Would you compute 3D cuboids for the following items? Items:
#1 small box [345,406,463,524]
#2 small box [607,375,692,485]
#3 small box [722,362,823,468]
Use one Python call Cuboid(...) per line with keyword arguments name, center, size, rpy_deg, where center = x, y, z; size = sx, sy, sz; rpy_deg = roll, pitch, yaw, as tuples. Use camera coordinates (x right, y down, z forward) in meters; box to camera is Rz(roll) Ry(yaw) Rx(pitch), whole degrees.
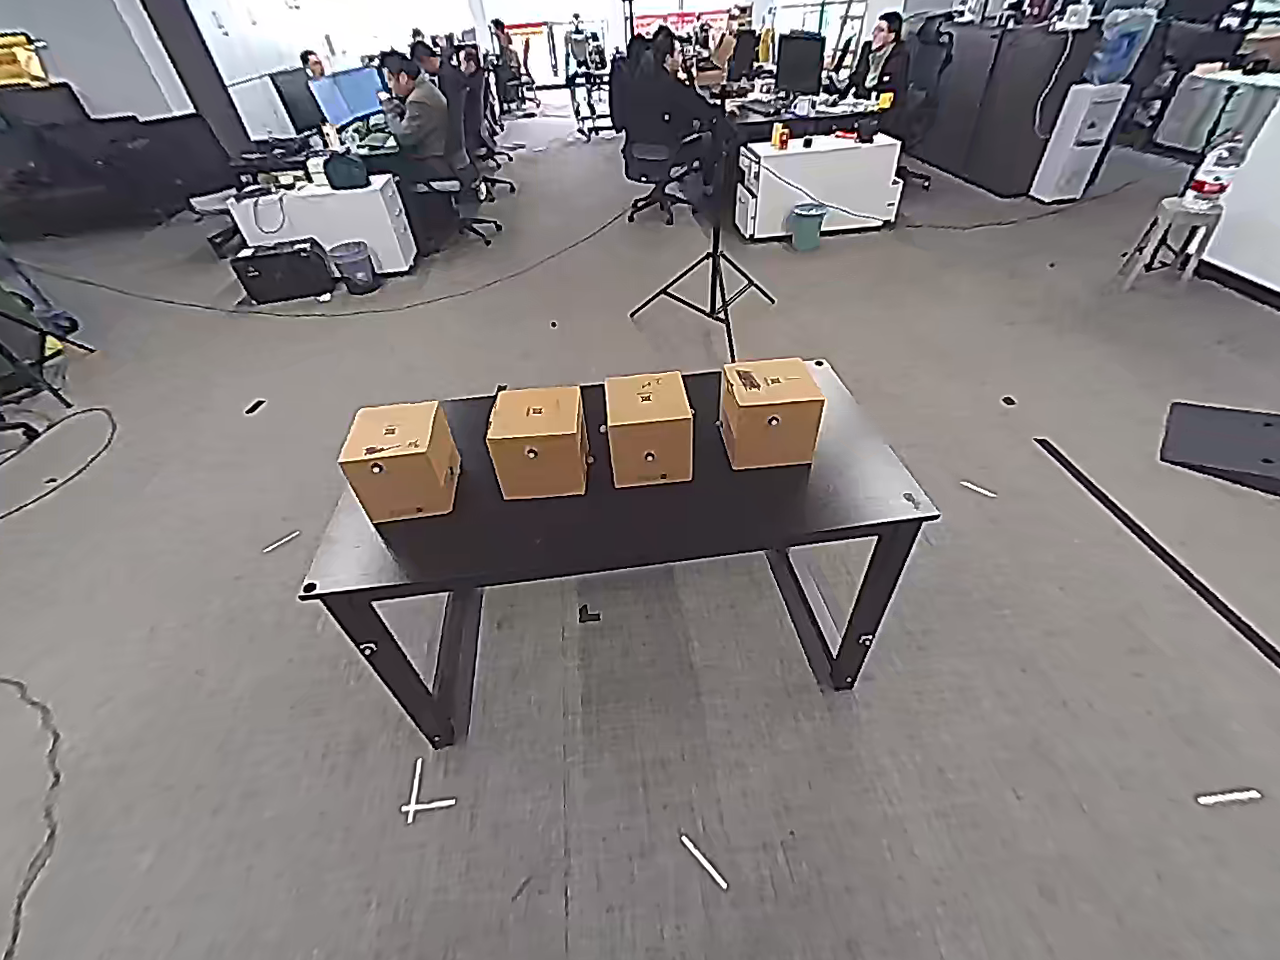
Cuboid(name="small box", center=(-0.479, -0.031, 1.132), size=(0.168, 0.176, 0.179), rpy_deg=(-8, 42, -3))
Cuboid(name="small box", center=(0.021, -0.102, 1.166), size=(0.168, 0.176, 0.179), rpy_deg=(-6, 42, -2))
Cuboid(name="small box", center=(0.278, -0.139, 1.184), size=(0.179, 0.176, 0.168), rpy_deg=(-5, 42, -2))
